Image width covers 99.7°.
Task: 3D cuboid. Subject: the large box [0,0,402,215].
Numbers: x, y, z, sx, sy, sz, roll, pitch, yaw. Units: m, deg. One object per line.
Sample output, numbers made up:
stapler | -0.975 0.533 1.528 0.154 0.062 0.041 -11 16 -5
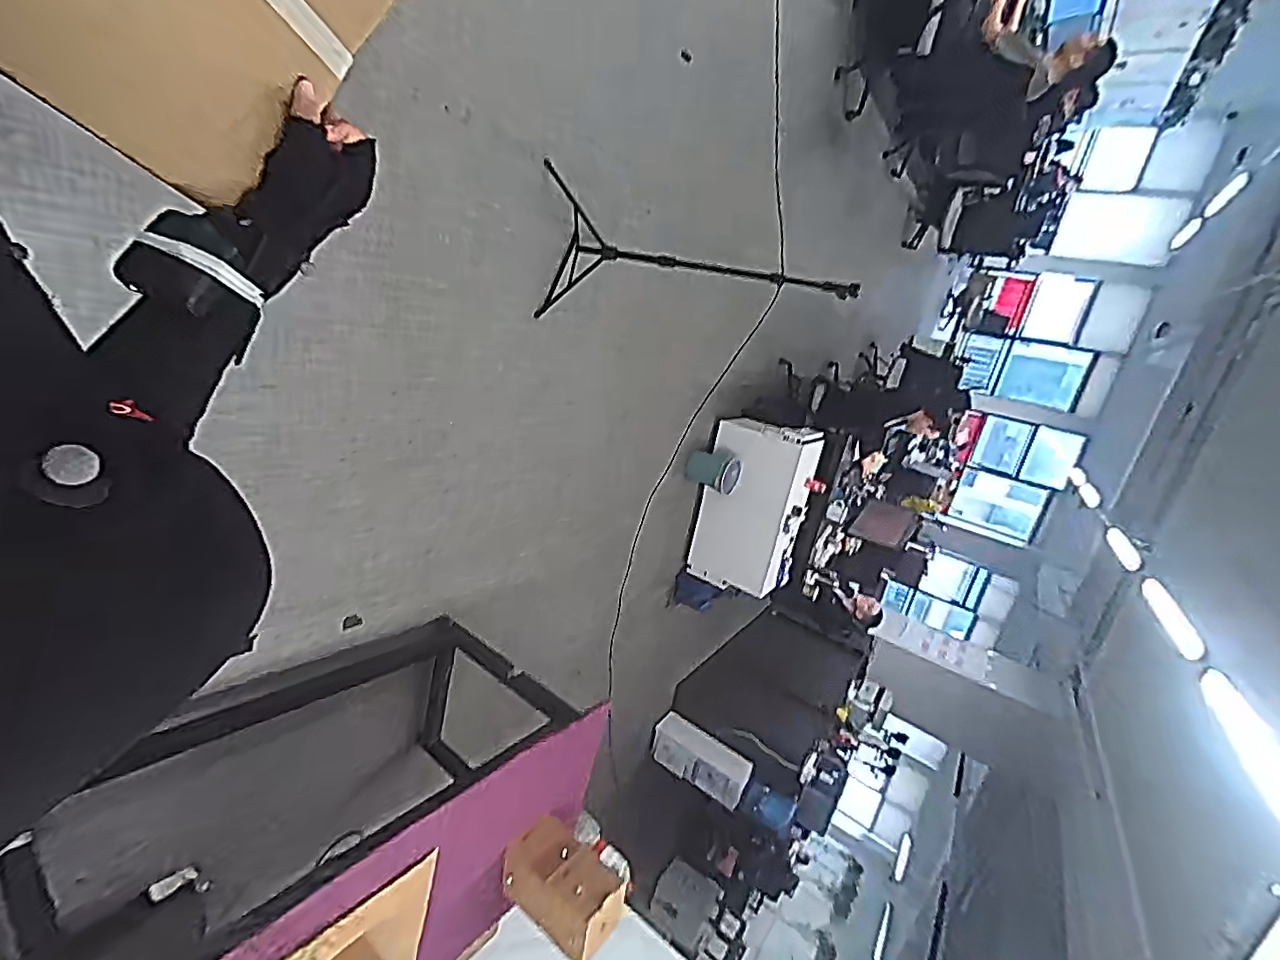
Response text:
large box | -0.429 -0.469 0.347 0.320 0.320 0.408 -54 152 -1
